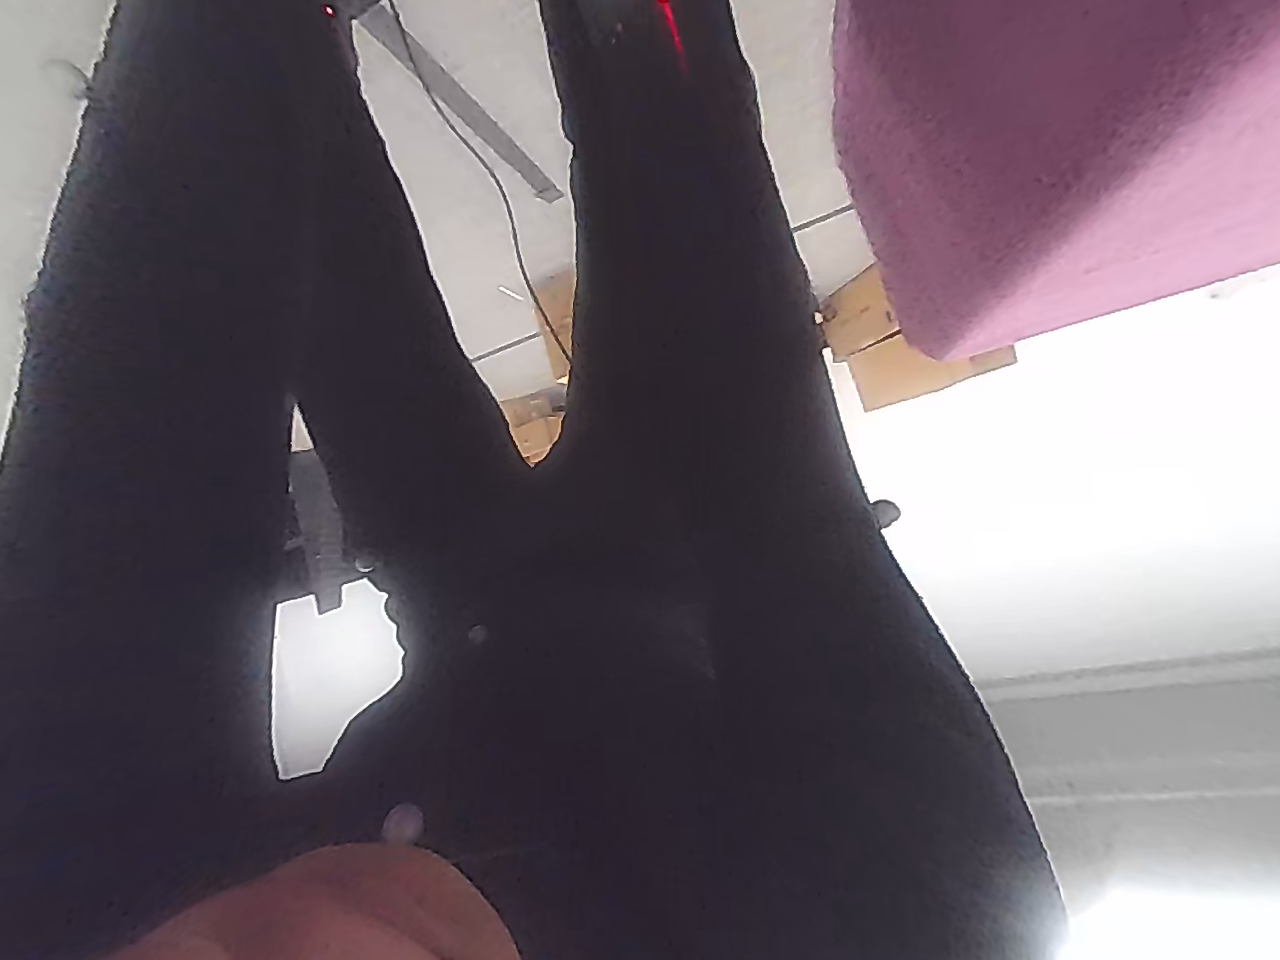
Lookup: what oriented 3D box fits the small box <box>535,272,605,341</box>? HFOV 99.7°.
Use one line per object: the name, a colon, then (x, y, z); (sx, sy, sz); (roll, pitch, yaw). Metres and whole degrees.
small box: (-0.246, -0.611, 1.909); (0.168, 0.176, 0.179); (-15, 177, 23)
